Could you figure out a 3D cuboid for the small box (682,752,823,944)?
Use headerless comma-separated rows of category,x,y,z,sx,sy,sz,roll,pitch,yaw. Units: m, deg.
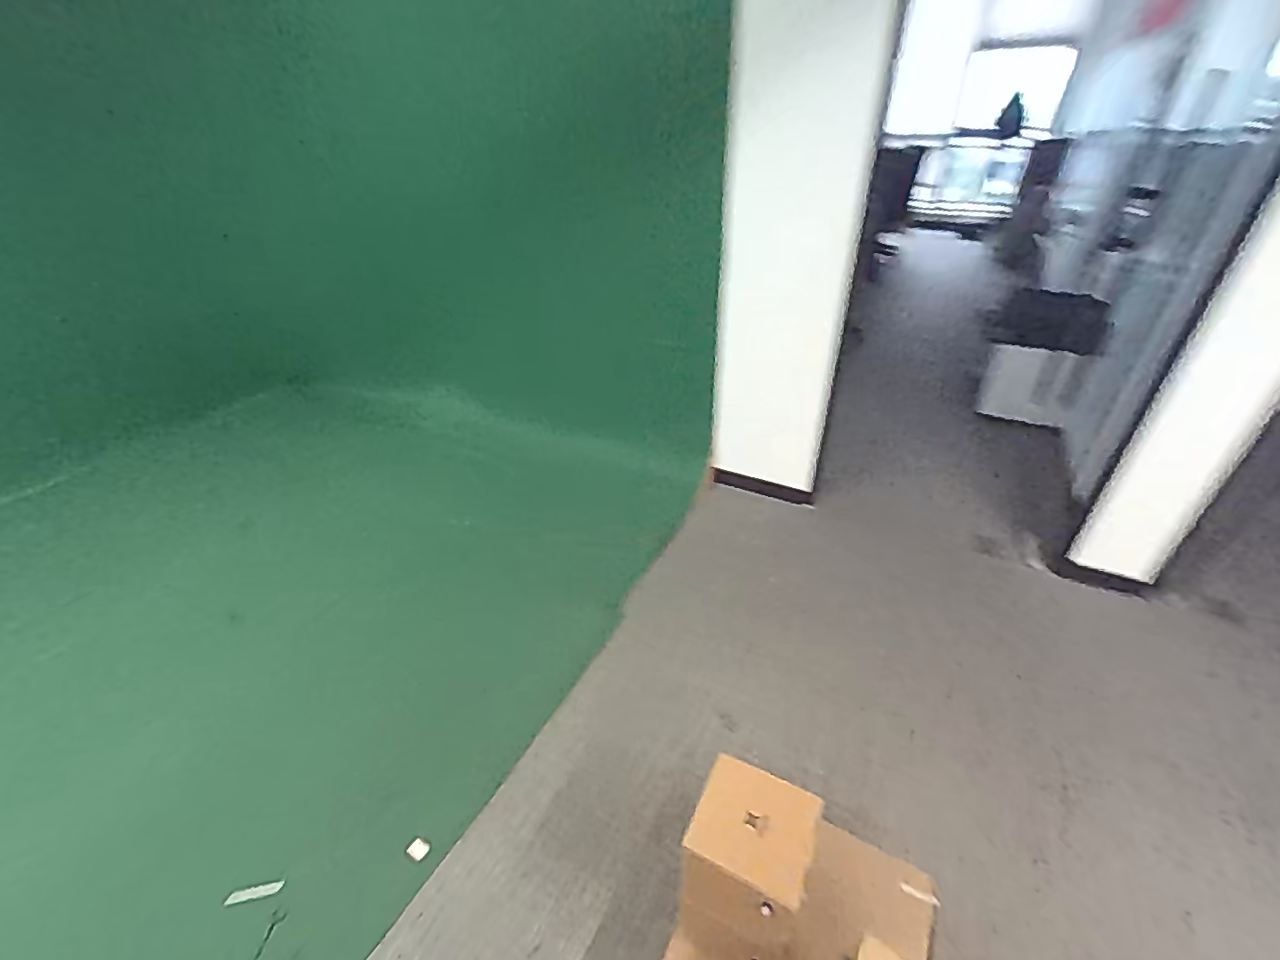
small box,0.176,0.589,0.870,0.179,0.176,0.168,16,36,24

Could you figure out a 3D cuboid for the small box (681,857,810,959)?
small box,0.184,0.729,0.954,0.179,0.176,0.168,15,36,24
